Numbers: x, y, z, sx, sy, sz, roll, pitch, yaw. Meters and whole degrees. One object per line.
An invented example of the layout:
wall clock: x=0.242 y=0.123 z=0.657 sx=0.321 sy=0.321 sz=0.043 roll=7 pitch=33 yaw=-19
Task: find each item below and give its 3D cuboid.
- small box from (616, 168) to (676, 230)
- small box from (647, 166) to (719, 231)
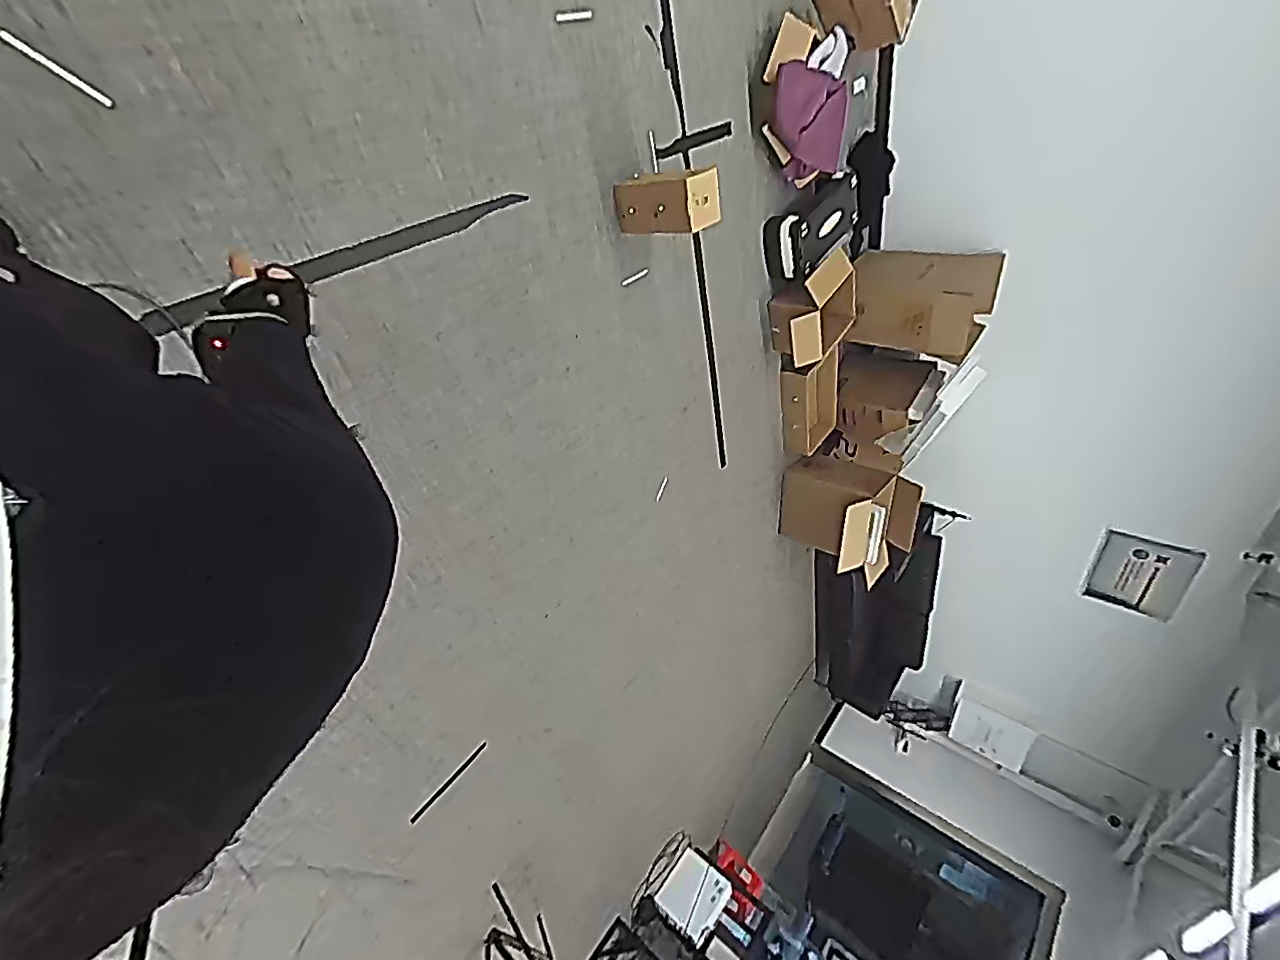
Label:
small box: x=0.030 y=-1.012 z=1.955 sx=0.179 sy=0.176 sz=0.168 roll=-41 pitch=134 yaw=-31
small box: x=0.148 y=-0.964 z=1.849 sx=0.179 sy=0.176 sz=0.168 roll=-39 pitch=133 yaw=-33
